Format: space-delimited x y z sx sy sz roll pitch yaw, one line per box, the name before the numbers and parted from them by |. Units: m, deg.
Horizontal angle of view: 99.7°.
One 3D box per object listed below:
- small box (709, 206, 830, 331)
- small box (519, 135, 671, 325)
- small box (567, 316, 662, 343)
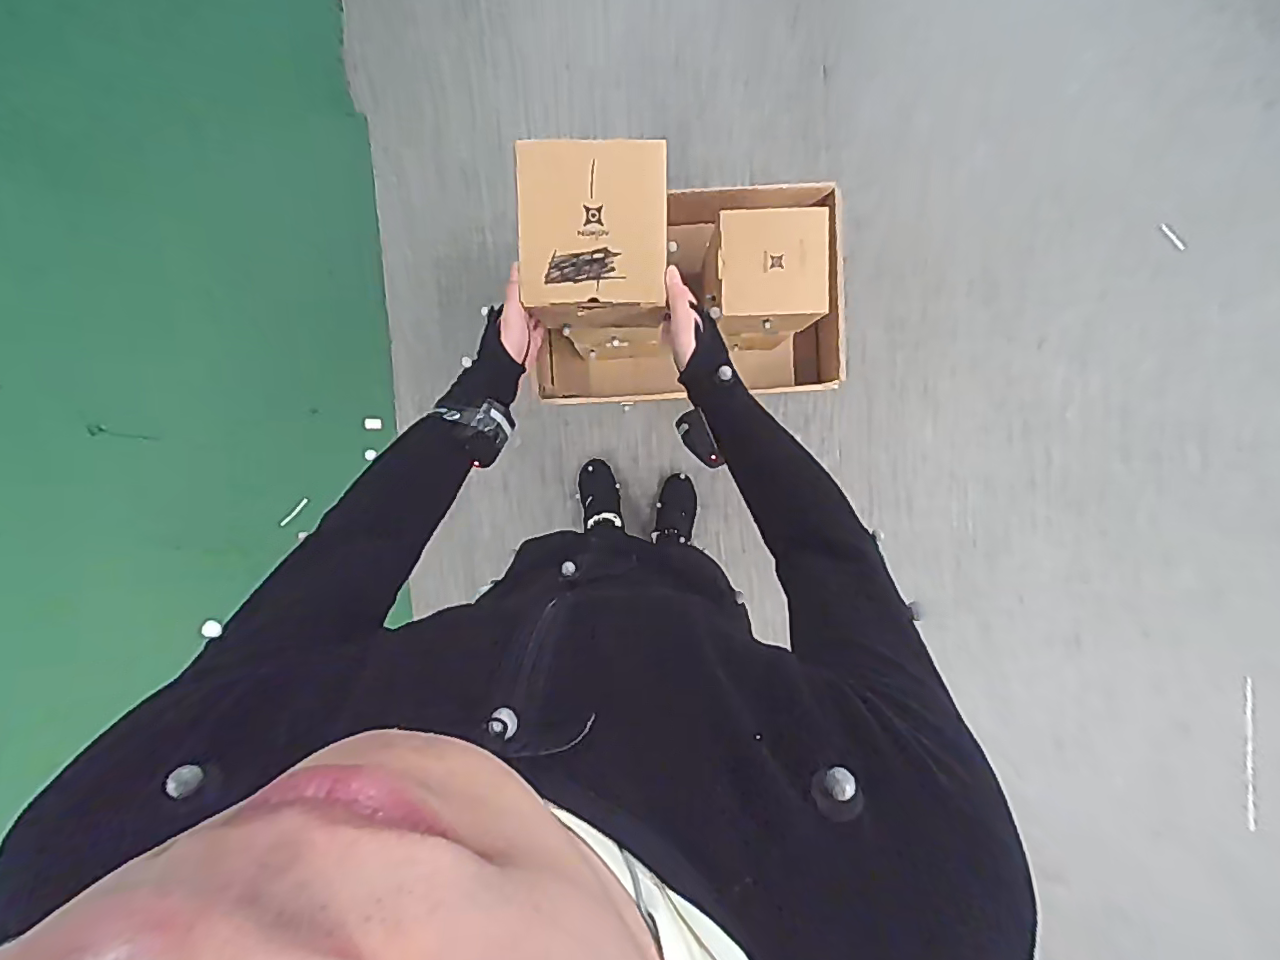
small box | 0.213 -0.355 0.935 0.179 0.176 0.168 -1 96 0
small box | -0.049 -0.290 0.665 0.168 0.176 0.179 0 96 -1
small box | -0.049 -0.343 0.935 0.168 0.176 0.179 -3 94 1
